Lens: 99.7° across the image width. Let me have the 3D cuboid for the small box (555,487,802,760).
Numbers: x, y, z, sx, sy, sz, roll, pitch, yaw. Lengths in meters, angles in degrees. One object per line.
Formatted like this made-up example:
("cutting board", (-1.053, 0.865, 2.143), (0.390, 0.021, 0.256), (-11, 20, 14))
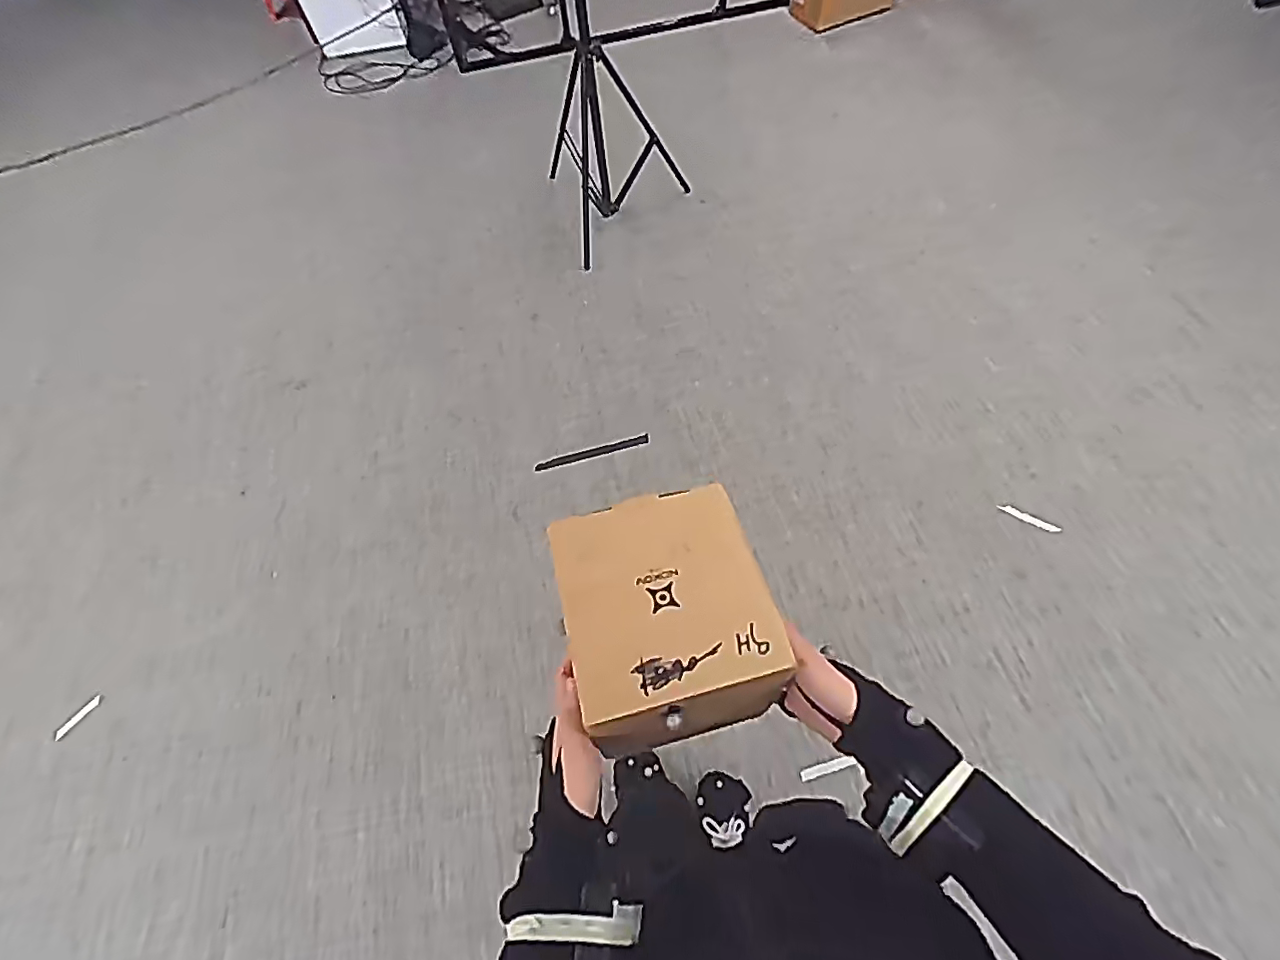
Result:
("small box", (0.024, 0.136, 0.504), (0.168, 0.176, 0.179), (-13, 55, -7))
